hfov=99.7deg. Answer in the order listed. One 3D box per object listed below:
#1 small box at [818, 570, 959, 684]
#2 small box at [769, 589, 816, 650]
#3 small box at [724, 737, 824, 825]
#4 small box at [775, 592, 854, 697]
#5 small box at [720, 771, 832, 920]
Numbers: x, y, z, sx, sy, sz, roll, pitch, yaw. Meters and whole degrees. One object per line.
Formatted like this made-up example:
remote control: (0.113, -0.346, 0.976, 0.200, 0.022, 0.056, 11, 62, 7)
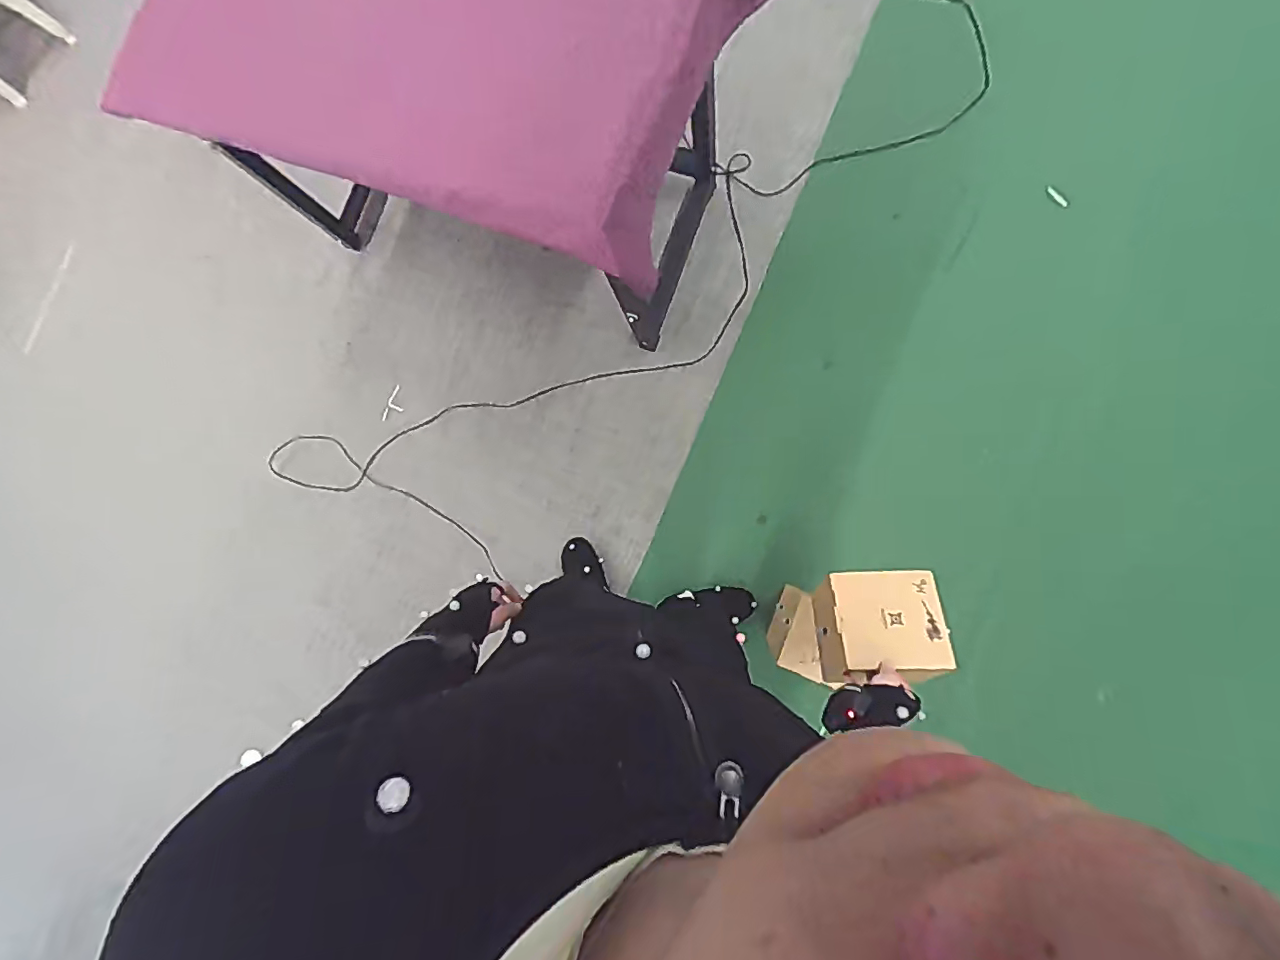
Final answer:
small box: (0.423, 0.266, 0.958, 0.179, 0.176, 0.168, -2, 63, 5)
small box: (0.459, 0.401, 1.451, 0.179, 0.176, 0.168, 22, 87, 10)
small box: (0.309, 0.736, 1.272, 0.179, 0.176, 0.168, 22, 89, 11)
small box: (0.431, 0.379, 1.290, 0.168, 0.176, 0.179, 21, 88, 10)
small box: (0.275, 0.734, 1.112, 0.179, 0.176, 0.168, 16, 88, 13)
